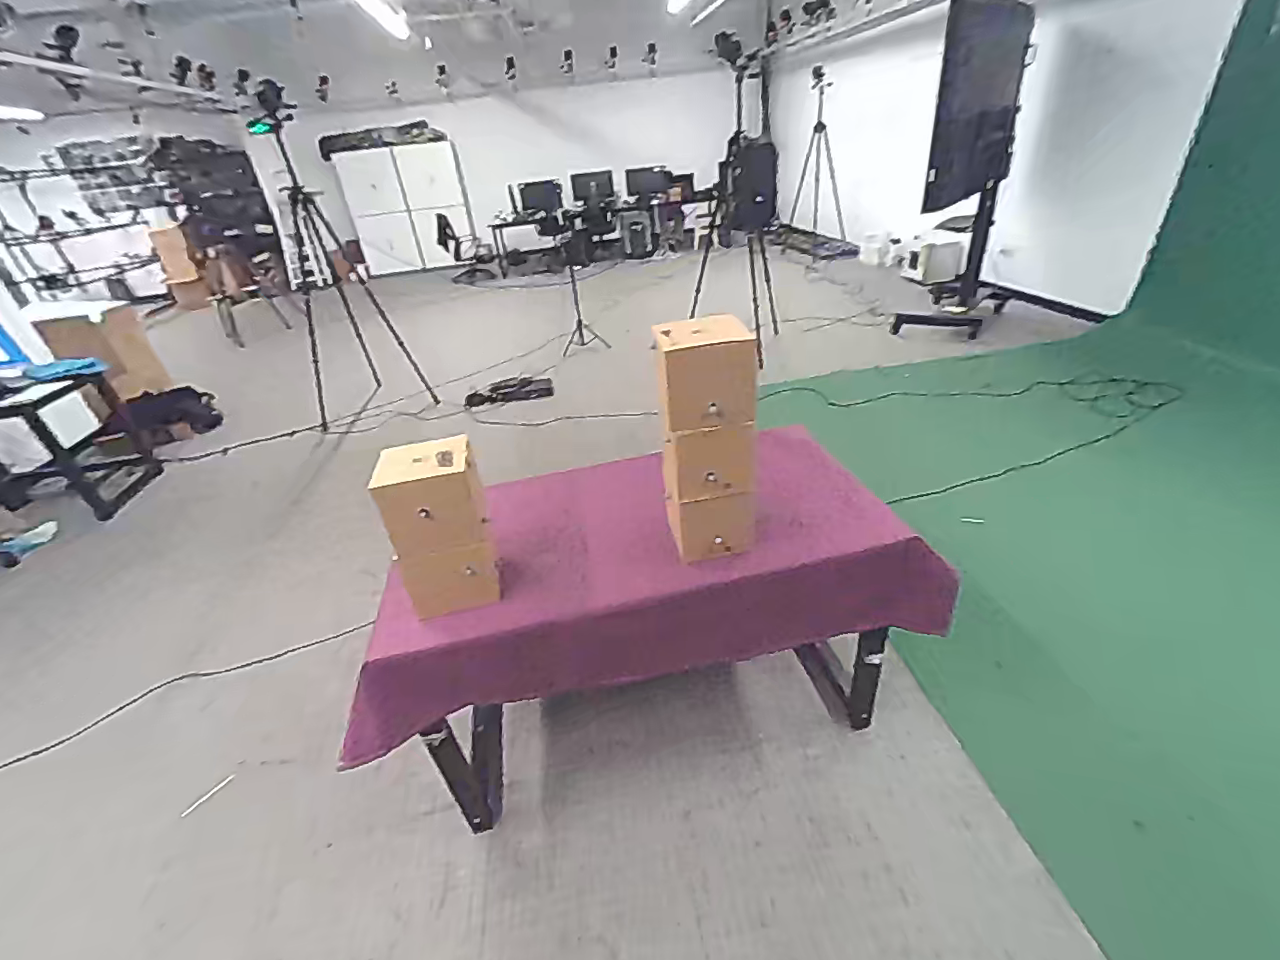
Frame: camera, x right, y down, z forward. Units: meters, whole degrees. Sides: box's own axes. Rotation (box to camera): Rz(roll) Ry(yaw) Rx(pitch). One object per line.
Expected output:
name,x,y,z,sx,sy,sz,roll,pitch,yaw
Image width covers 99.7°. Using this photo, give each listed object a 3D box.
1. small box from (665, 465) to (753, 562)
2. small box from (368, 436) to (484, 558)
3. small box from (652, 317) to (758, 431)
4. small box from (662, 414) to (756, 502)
small box,0.156,0.064,1.252,0.168,0.176,0.179,-10,32,-4
small box,-0.421,0.033,1.100,0.179,0.176,0.168,-12,32,-9
small box,0.124,-0.212,1.078,0.179,0.176,0.168,-8,32,-3
small box,0.142,-0.075,1.167,0.168,0.176,0.179,-10,33,-5
